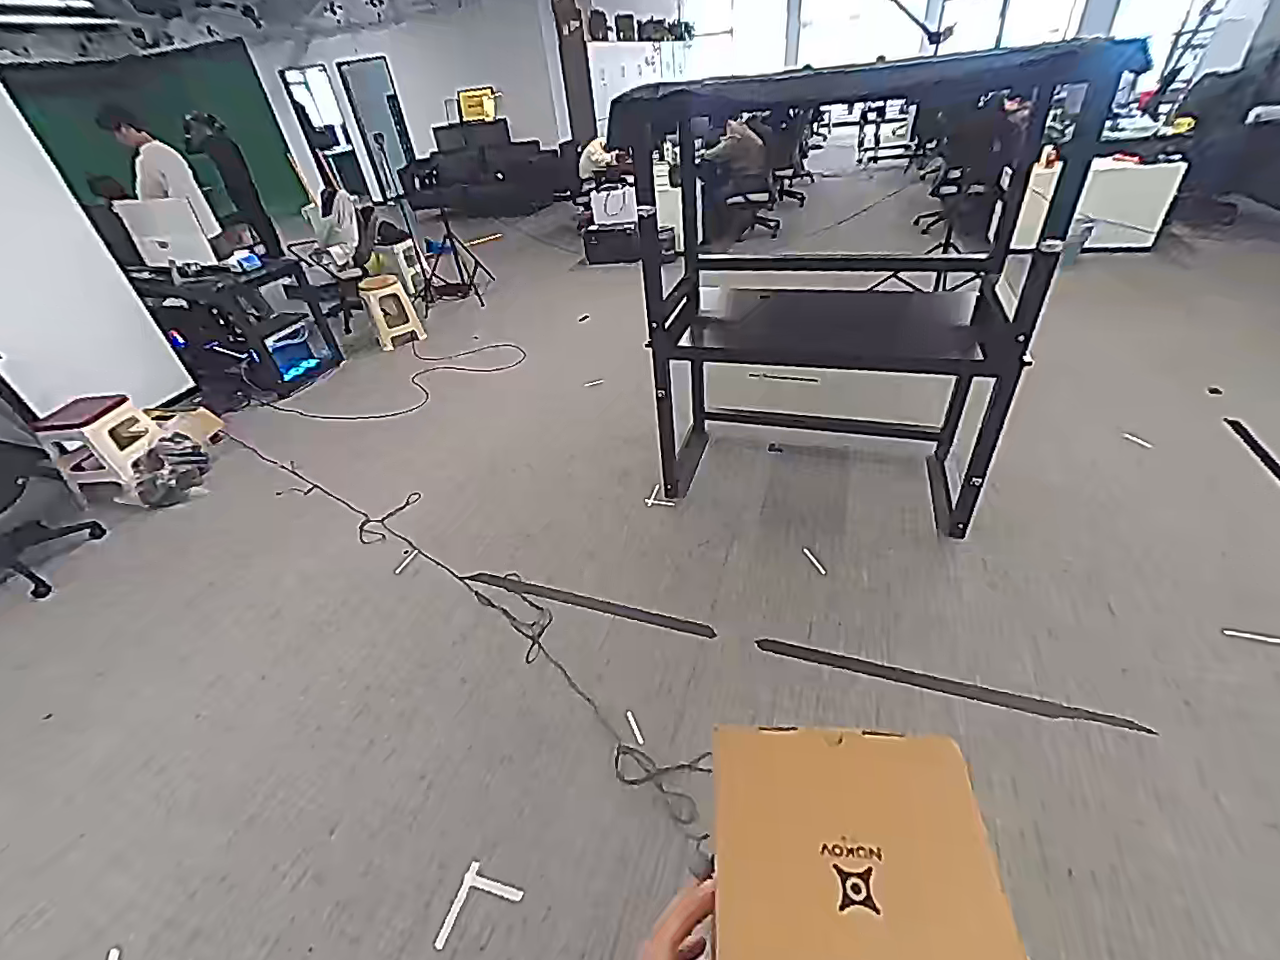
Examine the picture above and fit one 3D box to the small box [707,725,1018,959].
[{"bbox_3d":[0.130,0.295,0.372,0.168,0.176,0.179,0,41,7],"label":"small box"}]
